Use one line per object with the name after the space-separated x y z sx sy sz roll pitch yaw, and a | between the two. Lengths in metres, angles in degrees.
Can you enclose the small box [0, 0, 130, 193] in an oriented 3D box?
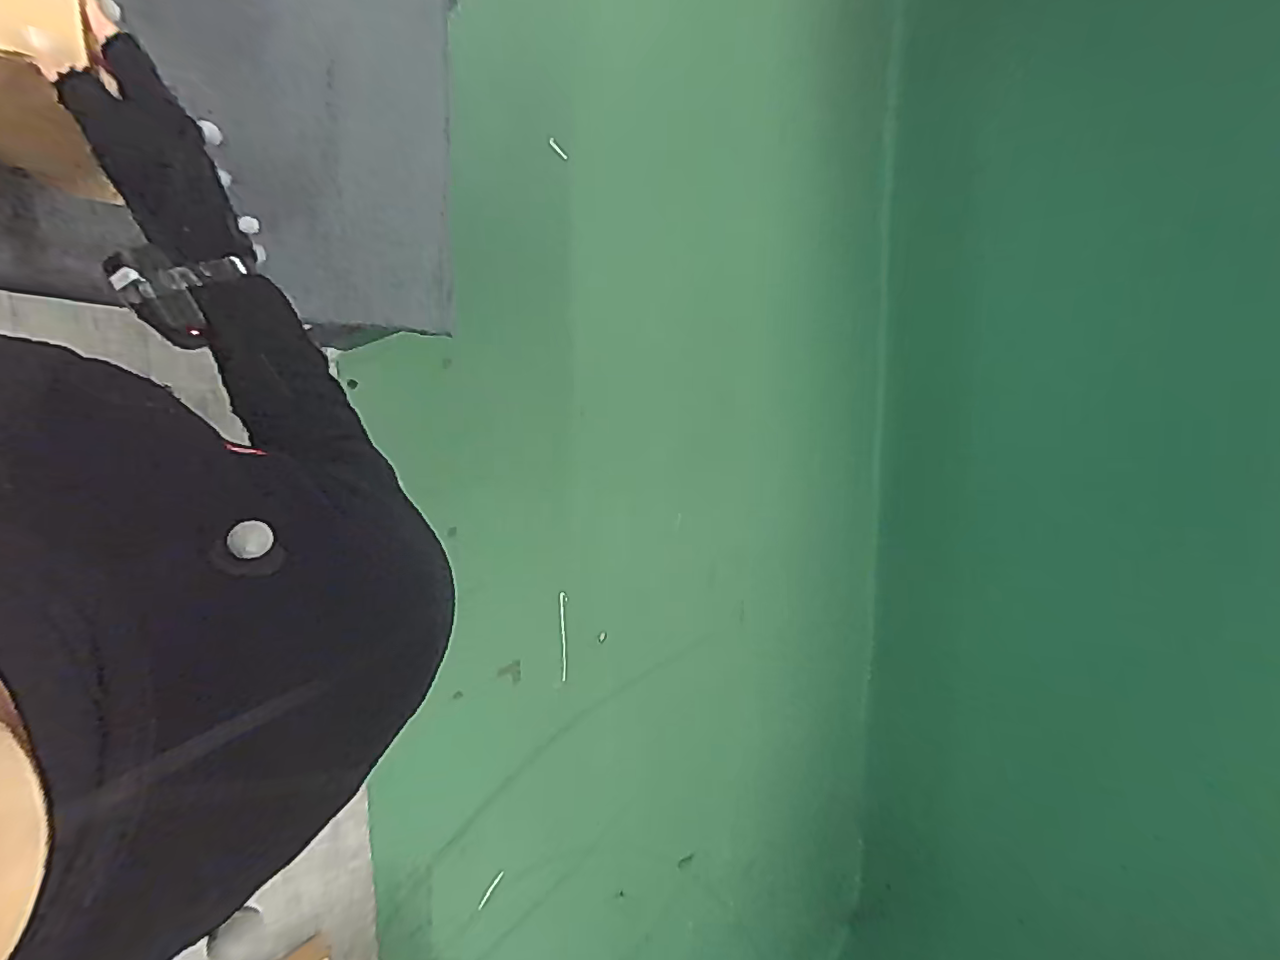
-0.473 -0.334 0.363 0.168 0.176 0.179 -8 90 -37 | small box
